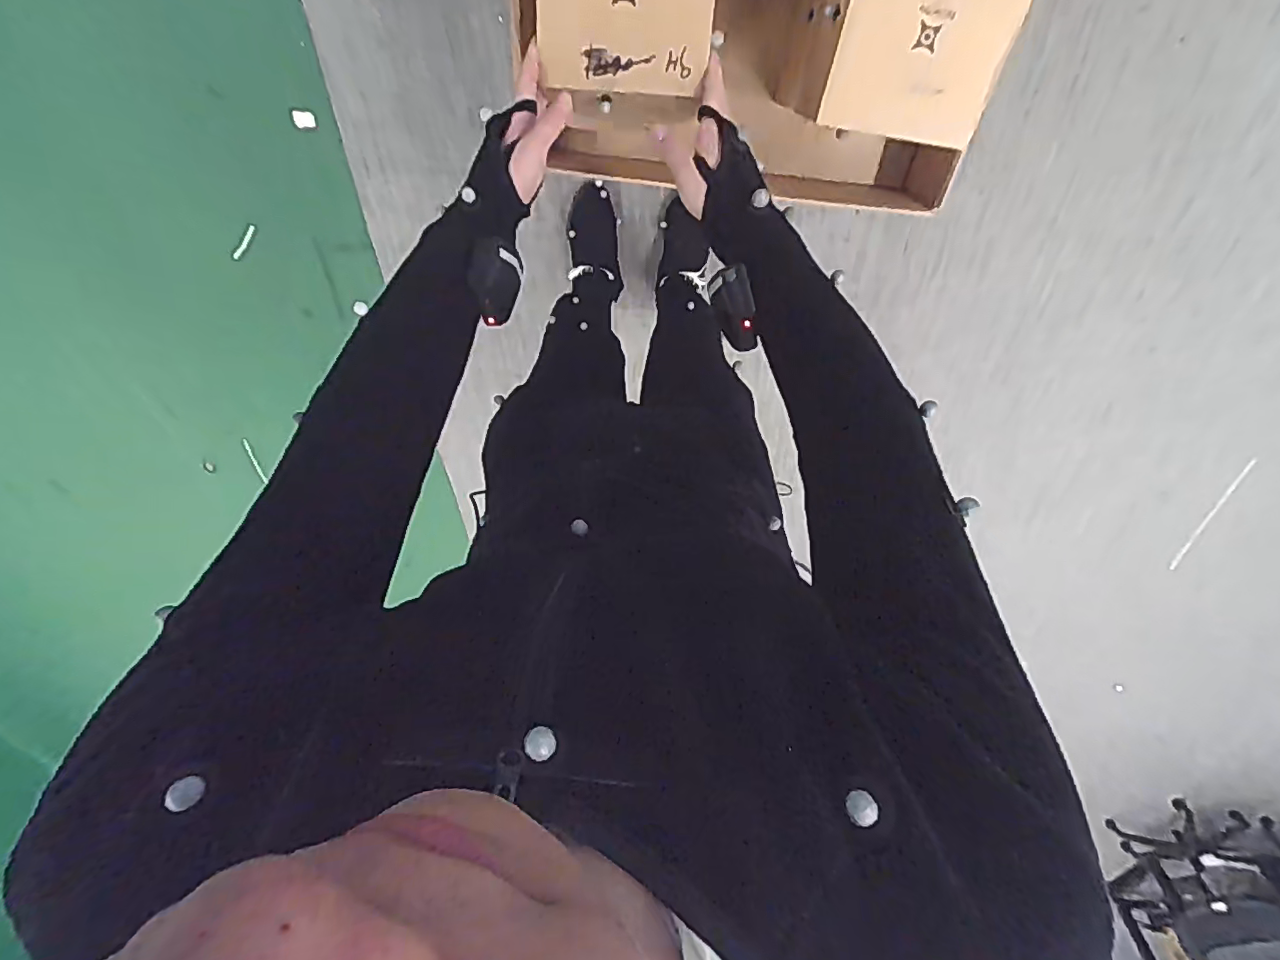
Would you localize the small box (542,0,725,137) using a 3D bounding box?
[{"bbox_3d":[-0.001,-0.479,0.554,0.168,0.176,0.179,5,110,1],"label":"small box"}]

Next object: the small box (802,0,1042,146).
[{"bbox_3d":[0.285,-0.476,0.570,0.168,0.176,0.179,8,128,-3],"label":"small box"}]
